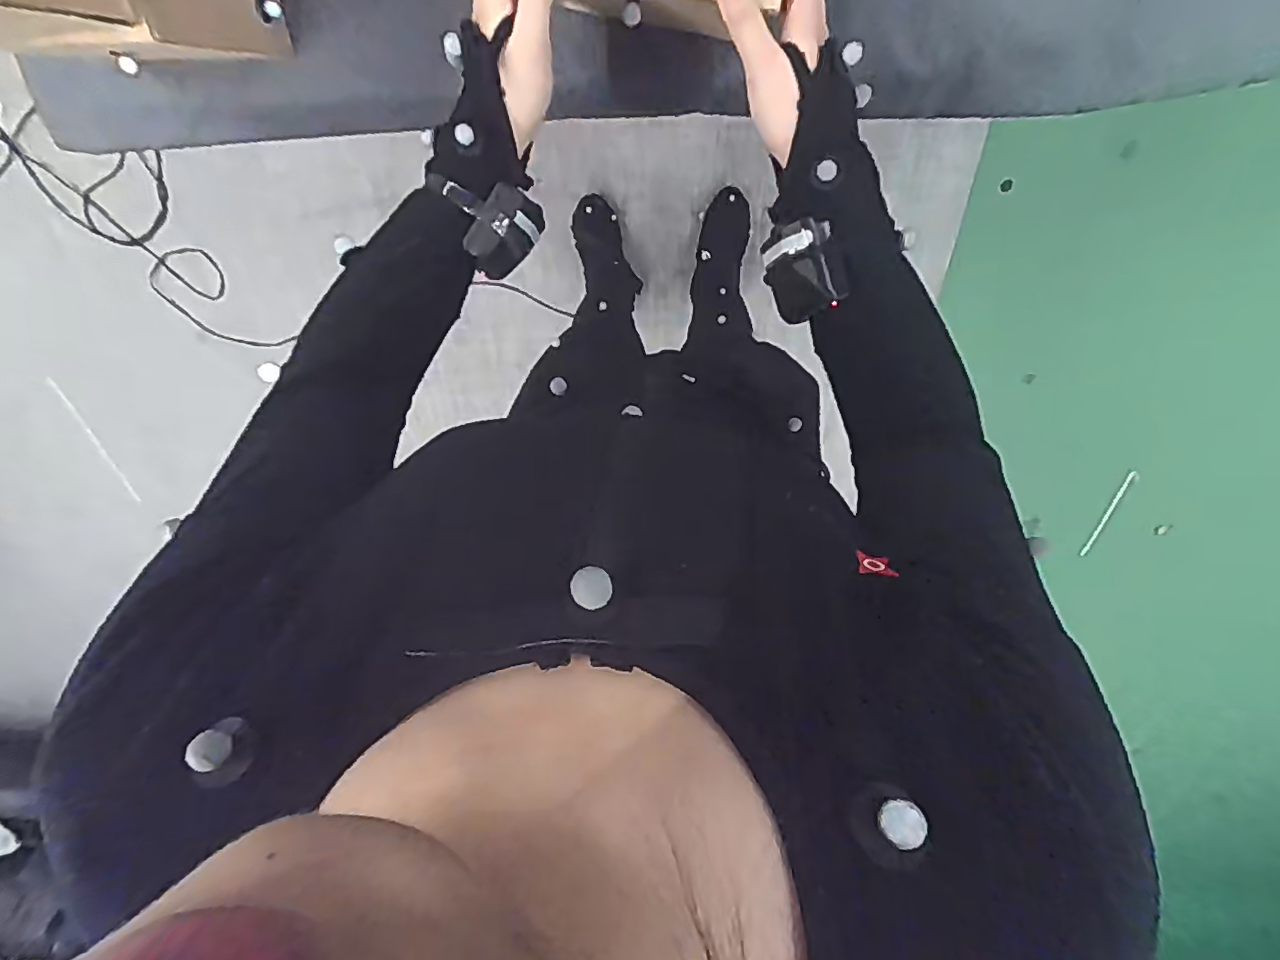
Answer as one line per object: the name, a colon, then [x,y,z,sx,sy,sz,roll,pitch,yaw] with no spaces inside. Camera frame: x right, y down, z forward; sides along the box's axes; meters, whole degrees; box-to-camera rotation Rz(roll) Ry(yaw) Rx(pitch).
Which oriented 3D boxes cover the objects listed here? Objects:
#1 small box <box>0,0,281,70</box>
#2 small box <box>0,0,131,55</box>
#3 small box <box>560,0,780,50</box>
small box: [-0.421,-0.426,0.418,0.179,0.176,0.168,3,125,5]
small box: [-0.451,-0.336,0.285,0.179,0.176,0.168,-1,124,7]
small box: [0.025,-0.420,0.374,0.179,0.176,0.168,11,124,0]
